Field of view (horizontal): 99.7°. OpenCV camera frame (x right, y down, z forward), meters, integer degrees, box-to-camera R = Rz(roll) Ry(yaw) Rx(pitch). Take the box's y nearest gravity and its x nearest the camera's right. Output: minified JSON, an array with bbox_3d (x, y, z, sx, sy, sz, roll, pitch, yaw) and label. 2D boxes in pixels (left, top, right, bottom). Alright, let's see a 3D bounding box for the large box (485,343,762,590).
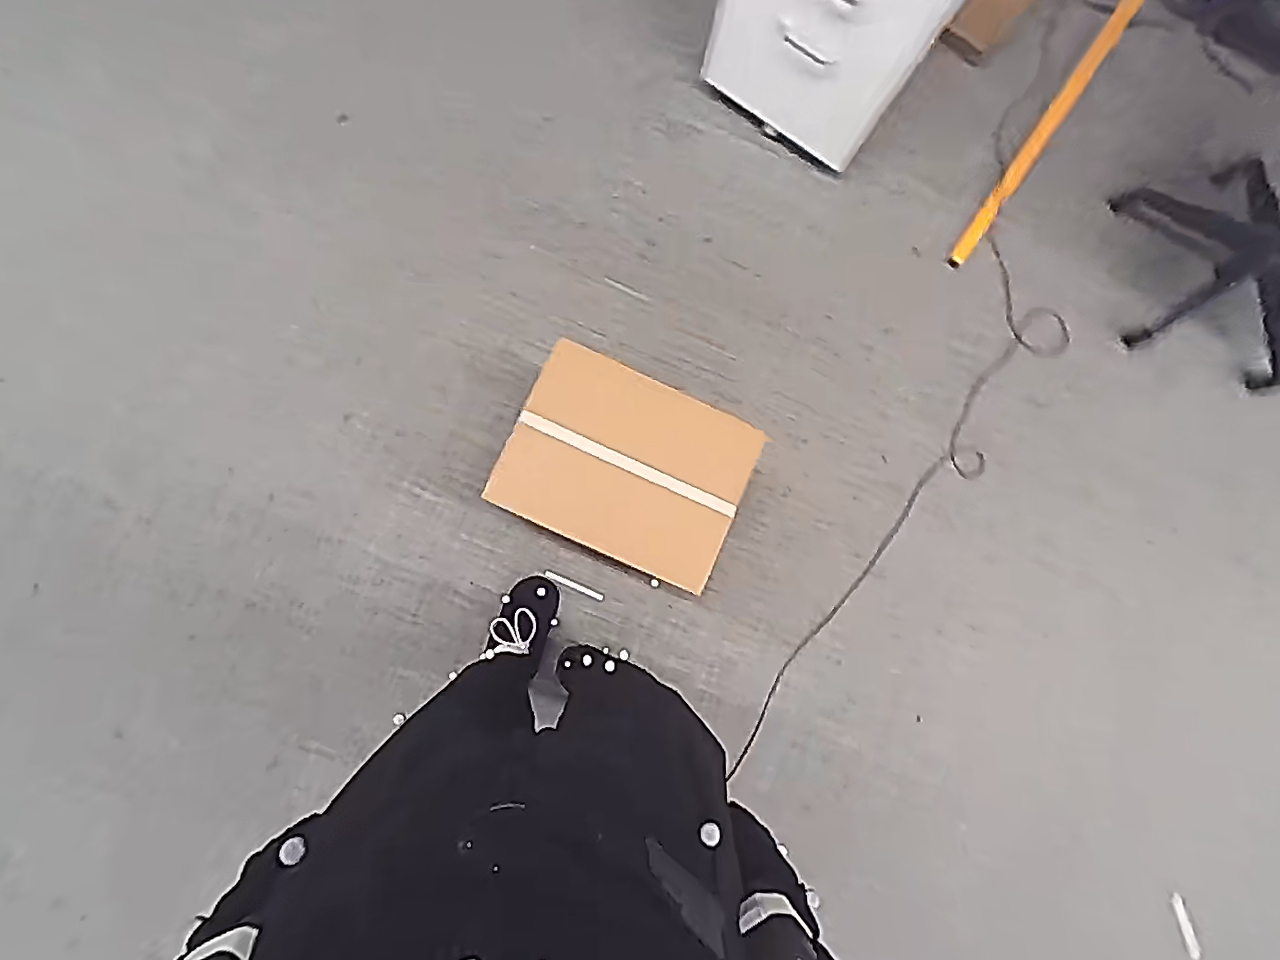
[{"bbox_3d":[-0.034,-0.011,1.080,0.408,0.320,0.320,25,81,-3],"label":"large box"}]
